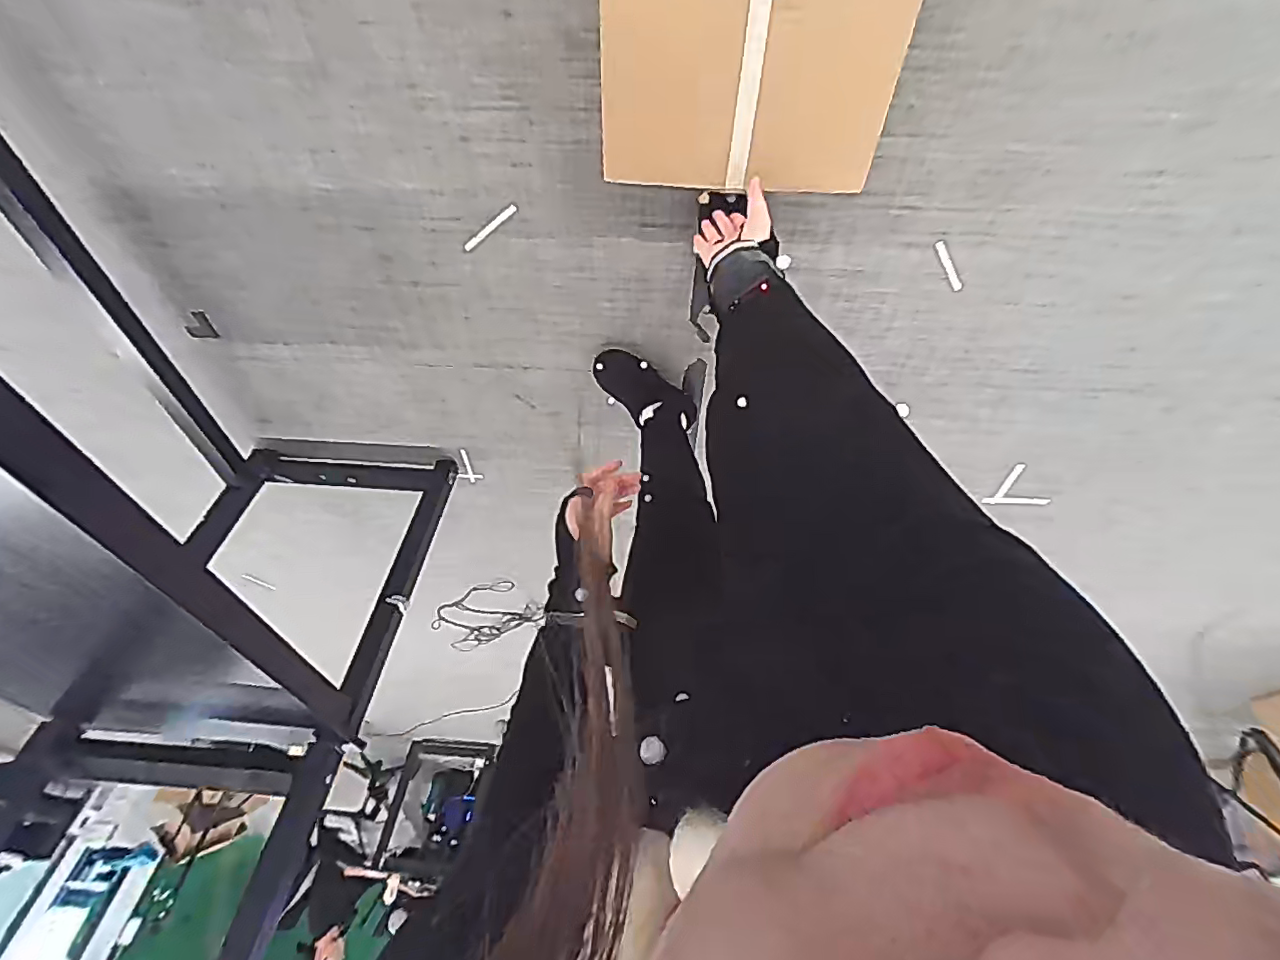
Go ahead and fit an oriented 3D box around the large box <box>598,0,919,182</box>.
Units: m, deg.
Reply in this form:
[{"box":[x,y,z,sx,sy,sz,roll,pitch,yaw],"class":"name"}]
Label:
[{"box":[0.124,-0.599,0.595,0.320,0.320,0.408,3,138,1],"class":"large box"}]
